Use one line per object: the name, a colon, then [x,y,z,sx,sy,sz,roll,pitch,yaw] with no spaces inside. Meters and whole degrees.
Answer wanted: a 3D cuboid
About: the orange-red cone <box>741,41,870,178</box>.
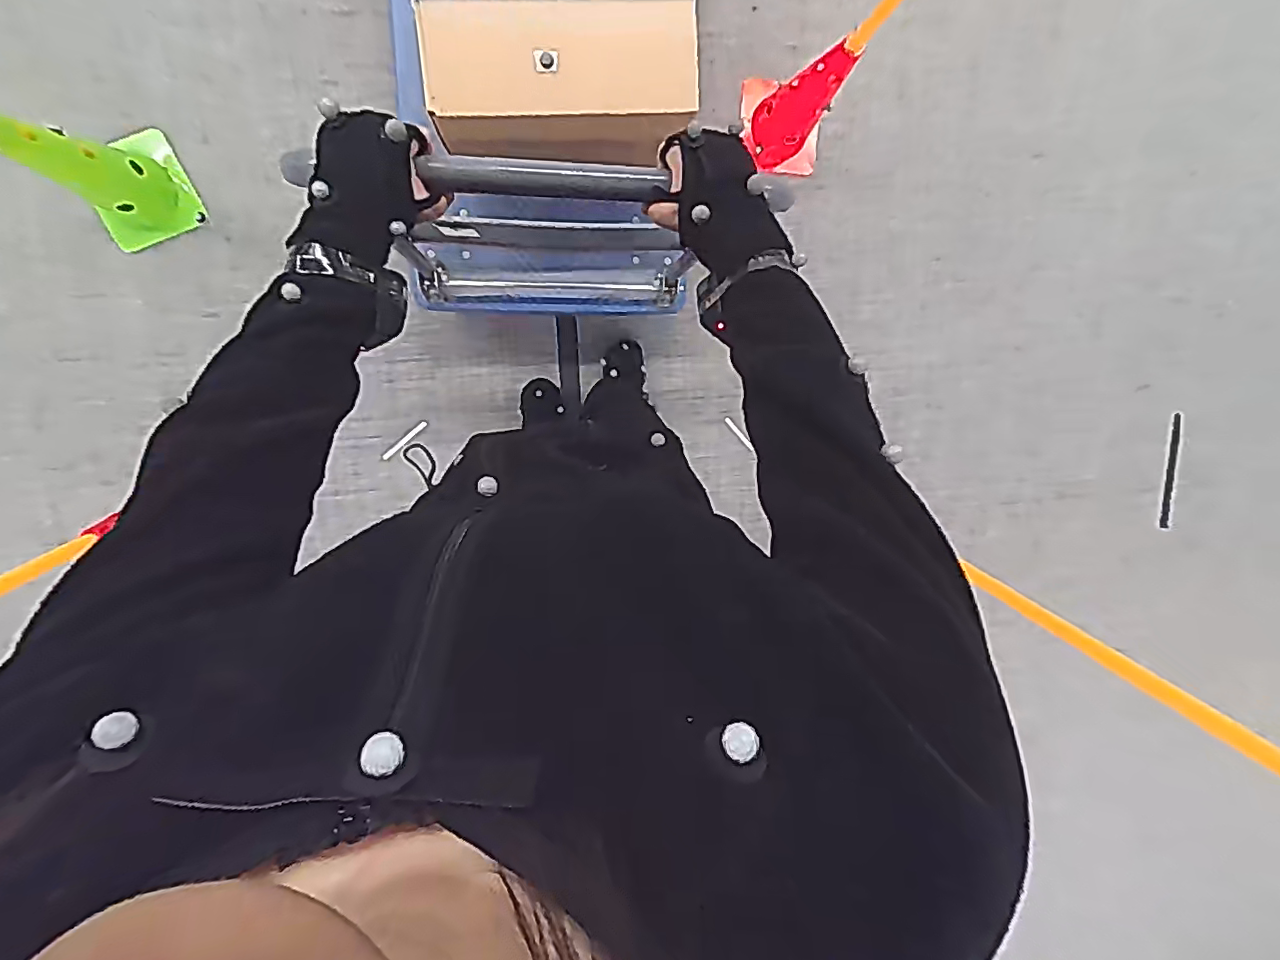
orange-red cone: [0.374,-0.812,1.143,0.199,0.360,0.198,2,102,-10]
